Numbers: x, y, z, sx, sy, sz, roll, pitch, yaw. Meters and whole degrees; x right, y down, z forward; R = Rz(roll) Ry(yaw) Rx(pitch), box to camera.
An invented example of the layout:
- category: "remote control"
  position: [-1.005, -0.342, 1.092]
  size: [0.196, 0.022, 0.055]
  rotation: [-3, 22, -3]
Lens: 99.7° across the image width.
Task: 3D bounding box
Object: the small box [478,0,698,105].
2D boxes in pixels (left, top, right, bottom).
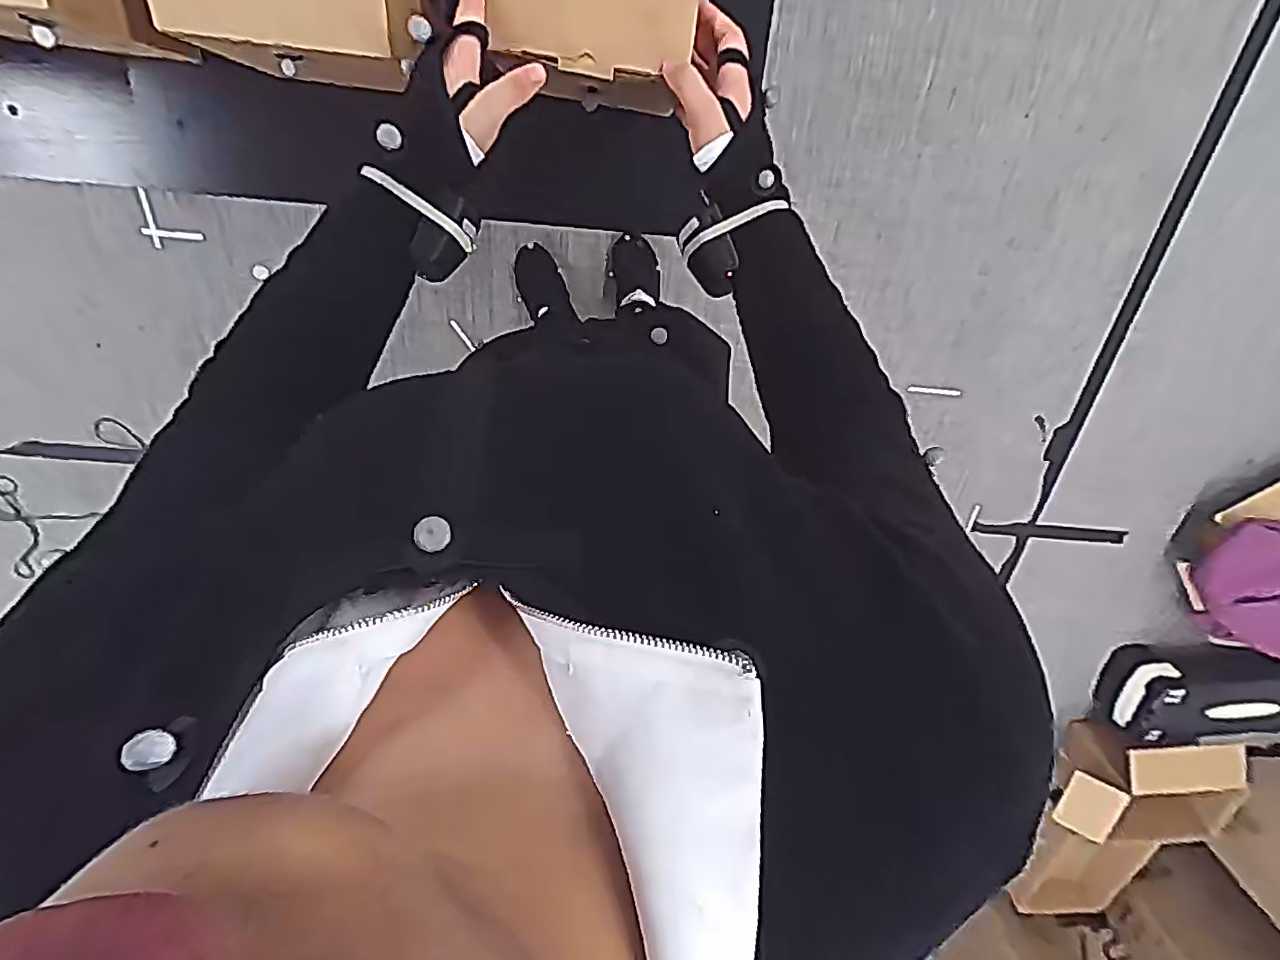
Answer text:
- category: "small box"
  position: [-0.033, -0.436, 0.452]
  size: [0.168, 0.176, 0.179]
  rotation: [6, 117, -6]

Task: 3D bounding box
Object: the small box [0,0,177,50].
- category: "small box"
  position: [-0.512, -0.462, 0.419]
  size: [0.179, 0.176, 0.168]
  rotation: [5, 116, -5]

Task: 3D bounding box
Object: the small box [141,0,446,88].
- category: "small box"
  position: [-0.273, -0.441, 0.441]
  size: [0.179, 0.176, 0.168]
  rotation: [4, 117, -5]
